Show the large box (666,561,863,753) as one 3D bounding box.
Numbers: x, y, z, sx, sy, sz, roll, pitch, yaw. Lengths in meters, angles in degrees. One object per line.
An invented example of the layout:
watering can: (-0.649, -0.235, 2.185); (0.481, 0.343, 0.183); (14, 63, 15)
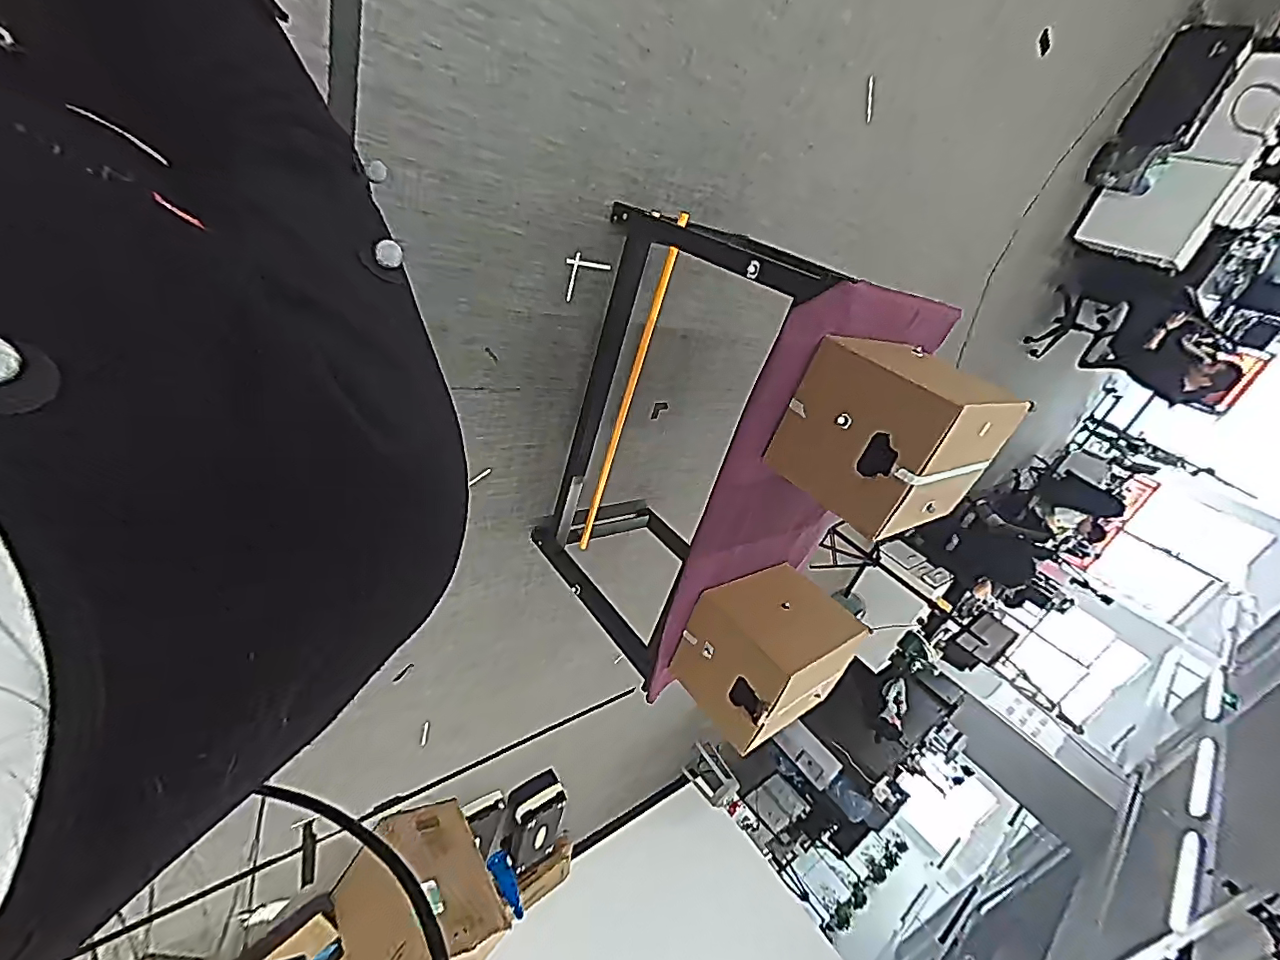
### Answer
large box: (0.345, 0.475, 1.540); (0.408, 0.320, 0.320); (-9, 129, -42)
